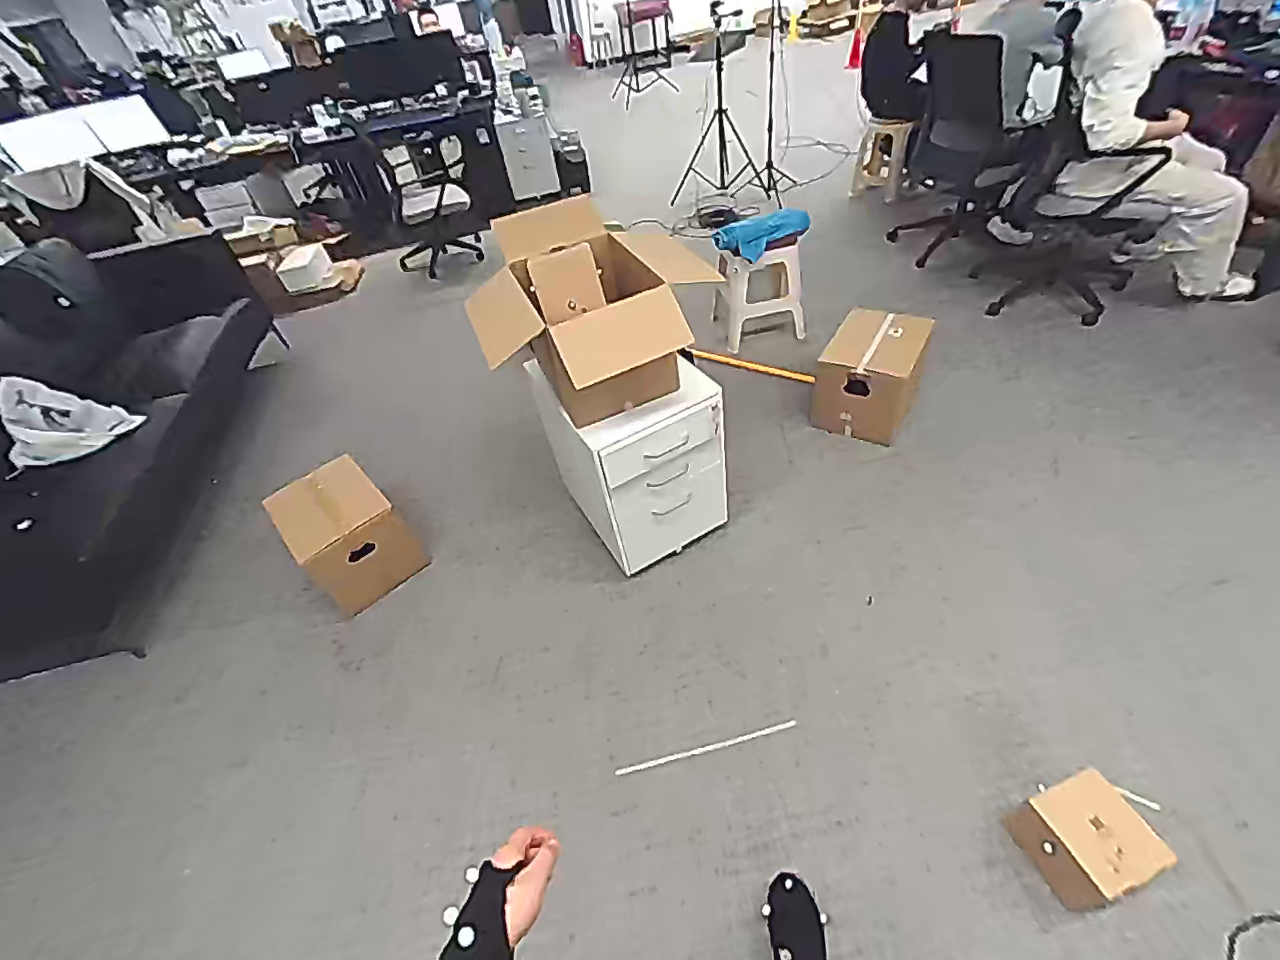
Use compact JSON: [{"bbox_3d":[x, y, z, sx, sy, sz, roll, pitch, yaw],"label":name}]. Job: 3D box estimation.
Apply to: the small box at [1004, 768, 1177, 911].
[{"bbox_3d":[0.882,0.721,1.084,0.168,0.176,0.179,-20,46,-8],"label":"small box"}]
